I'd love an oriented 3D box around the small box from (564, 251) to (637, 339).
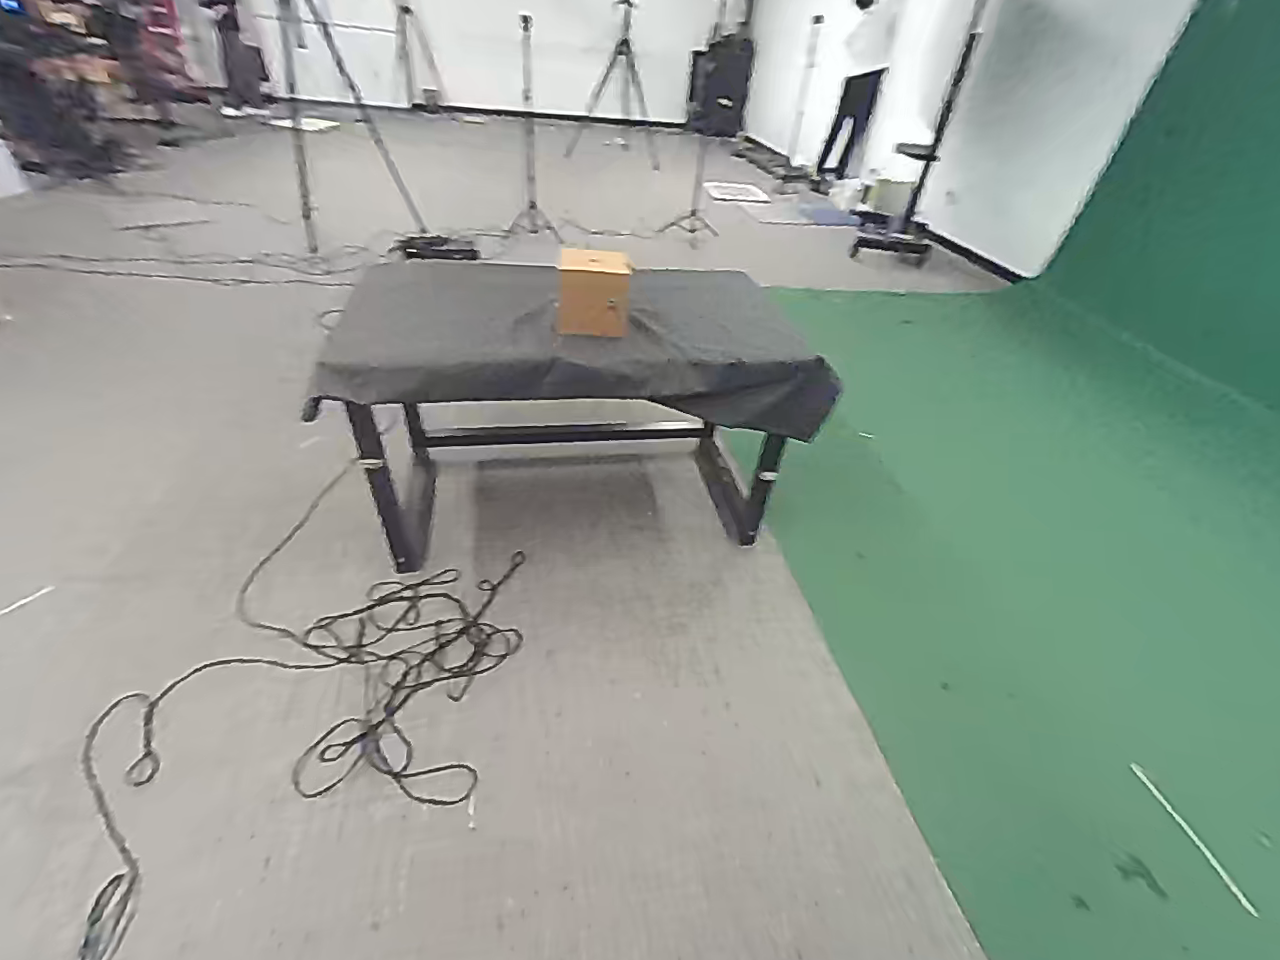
[{"bbox_3d":[-0.103,-0.475,1.399,0.179,0.176,0.168,2,39,-5],"label":"small box"}]
